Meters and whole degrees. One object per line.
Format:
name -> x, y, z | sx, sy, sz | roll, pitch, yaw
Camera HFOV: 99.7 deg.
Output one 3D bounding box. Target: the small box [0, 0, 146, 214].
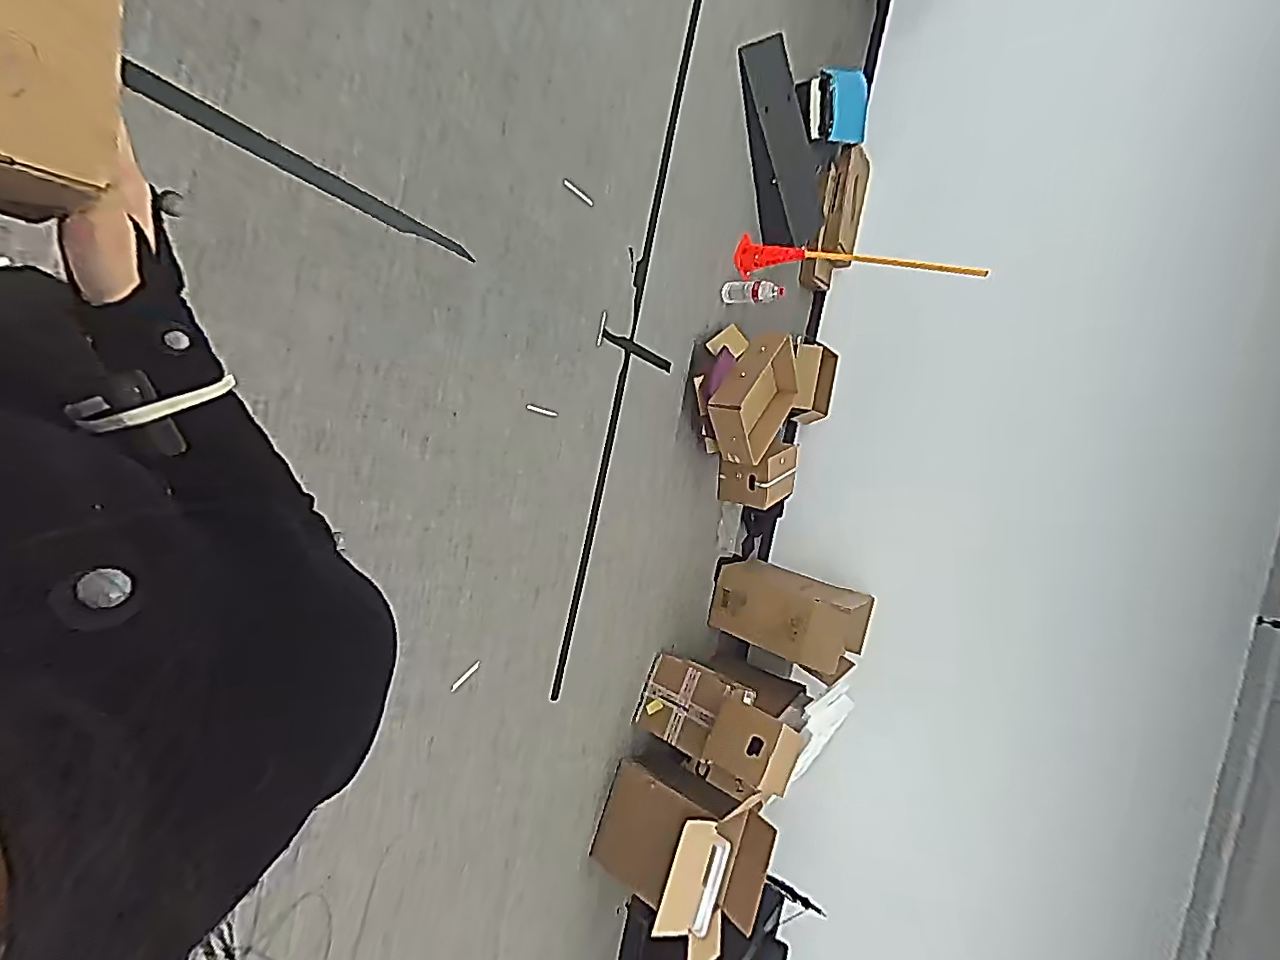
small box -> -0.334, -0.228, 0.220 | 0.168, 0.176, 0.179 | 0, 102, -57
